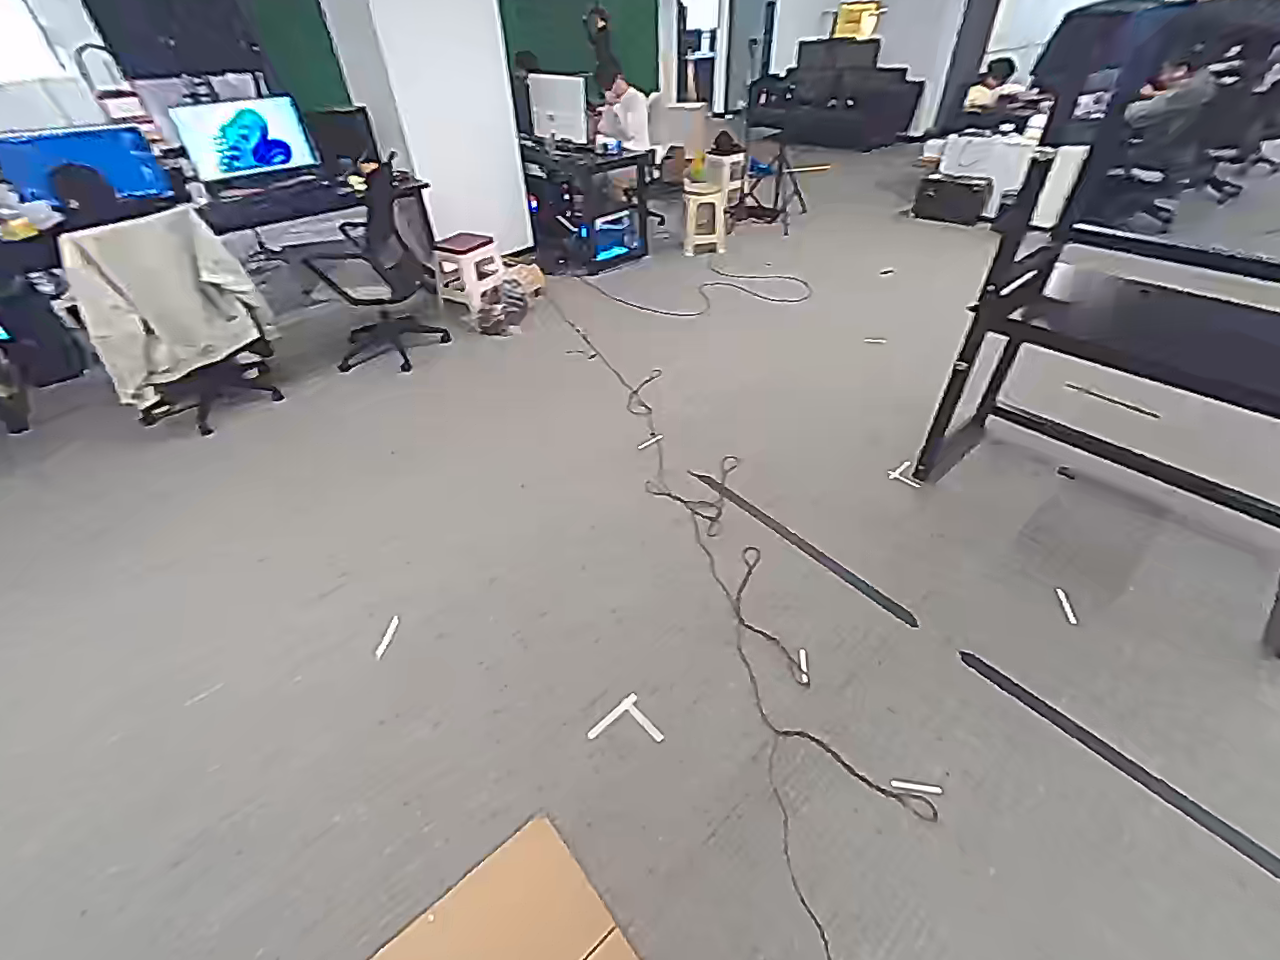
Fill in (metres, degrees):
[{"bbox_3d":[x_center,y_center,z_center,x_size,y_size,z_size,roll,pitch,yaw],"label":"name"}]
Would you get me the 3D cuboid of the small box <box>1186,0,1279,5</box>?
[{"bbox_3d":[1.318,-1.123,1.145,0.179,0.176,0.168,-30,49,-30],"label":"small box"}]
